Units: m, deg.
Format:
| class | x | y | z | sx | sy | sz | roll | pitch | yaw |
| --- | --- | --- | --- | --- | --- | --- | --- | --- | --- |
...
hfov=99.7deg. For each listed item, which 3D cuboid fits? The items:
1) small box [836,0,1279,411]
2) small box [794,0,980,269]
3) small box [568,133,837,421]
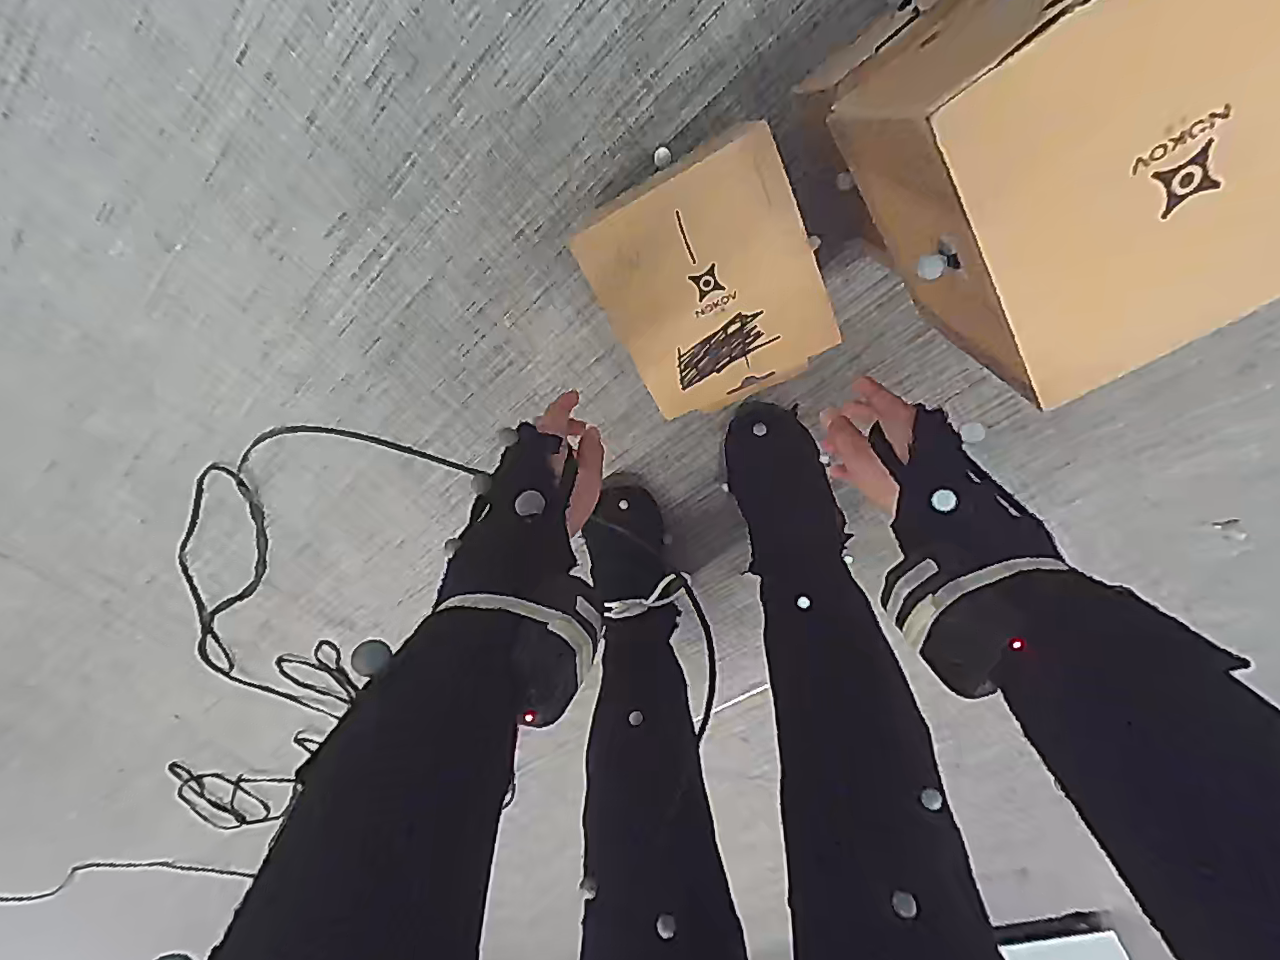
| class | x | y | z | sx | sy | sz | roll | pitch | yaw |
| --- | --- | --- | --- | --- | --- | --- | --- | --- | --- |
| small box | 0.238 | -0.177 | 0.304 | 0.168 | 0.176 | 0.179 | -31 | 116 | 21 |
| small box | 0.244 | -0.282 | 0.430 | 0.168 | 0.176 | 0.179 | -32 | 116 | 20 |
| small box | 0.059 | -0.189 | 0.498 | 0.168 | 0.176 | 0.179 | -23 | 118 | 16 |
